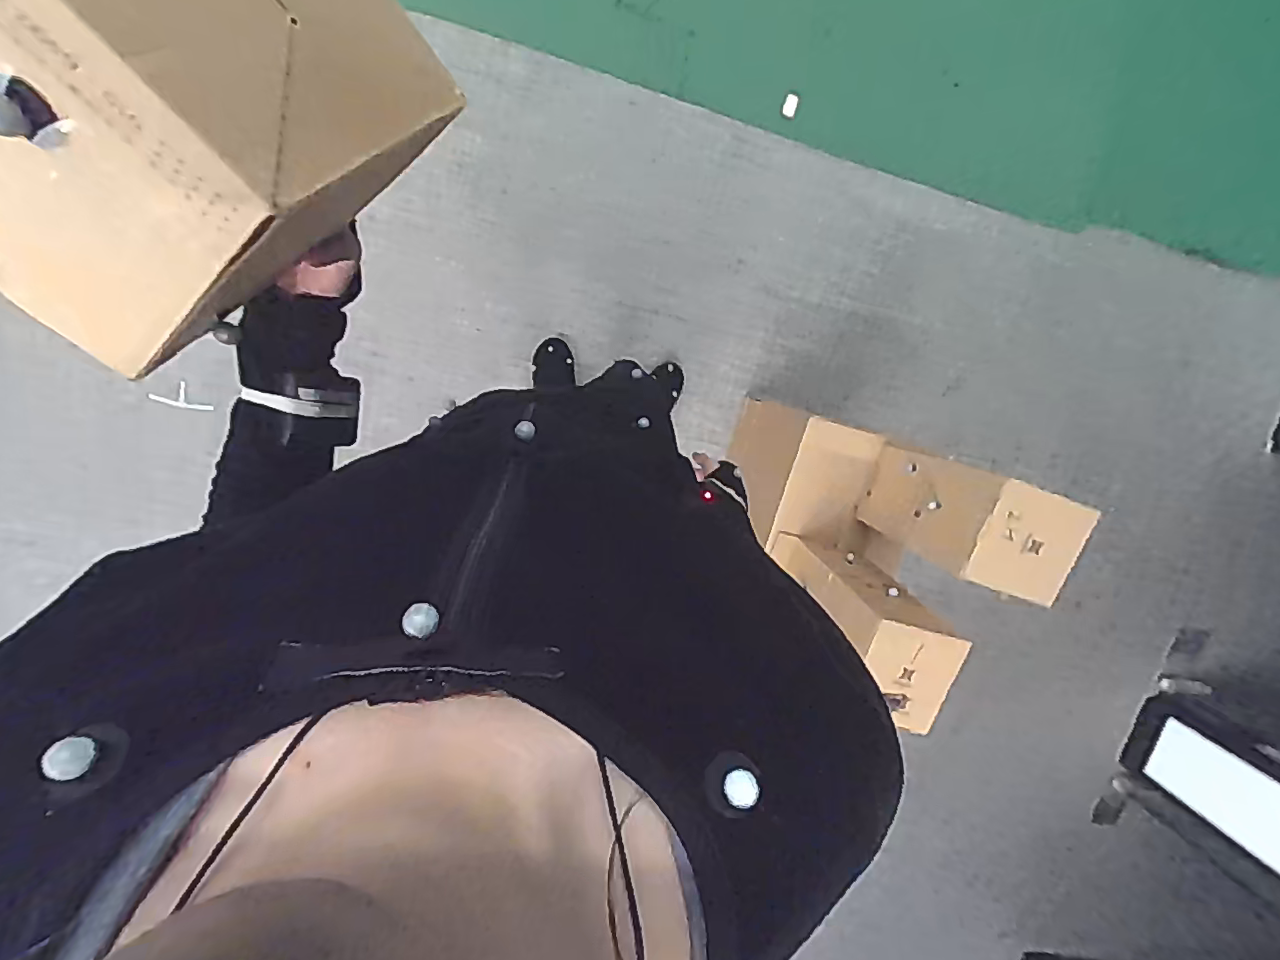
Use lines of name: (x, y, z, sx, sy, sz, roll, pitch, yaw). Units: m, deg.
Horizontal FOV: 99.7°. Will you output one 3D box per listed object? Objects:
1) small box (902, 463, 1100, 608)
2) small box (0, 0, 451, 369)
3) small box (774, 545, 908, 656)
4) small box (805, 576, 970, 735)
small box: (0.580, 0.082, 0.892, 0.179, 0.176, 0.168, 19, 100, -10)
small box: (-0.224, -0.190, 0.253, 0.176, 0.179, 0.168, -21, 127, 30)
small box: (0.387, 0.247, 1.077, 0.168, 0.176, 0.179, 17, 101, -8)
small box: (0.404, 0.291, 0.920, 0.168, 0.176, 0.179, 17, 101, -10)
